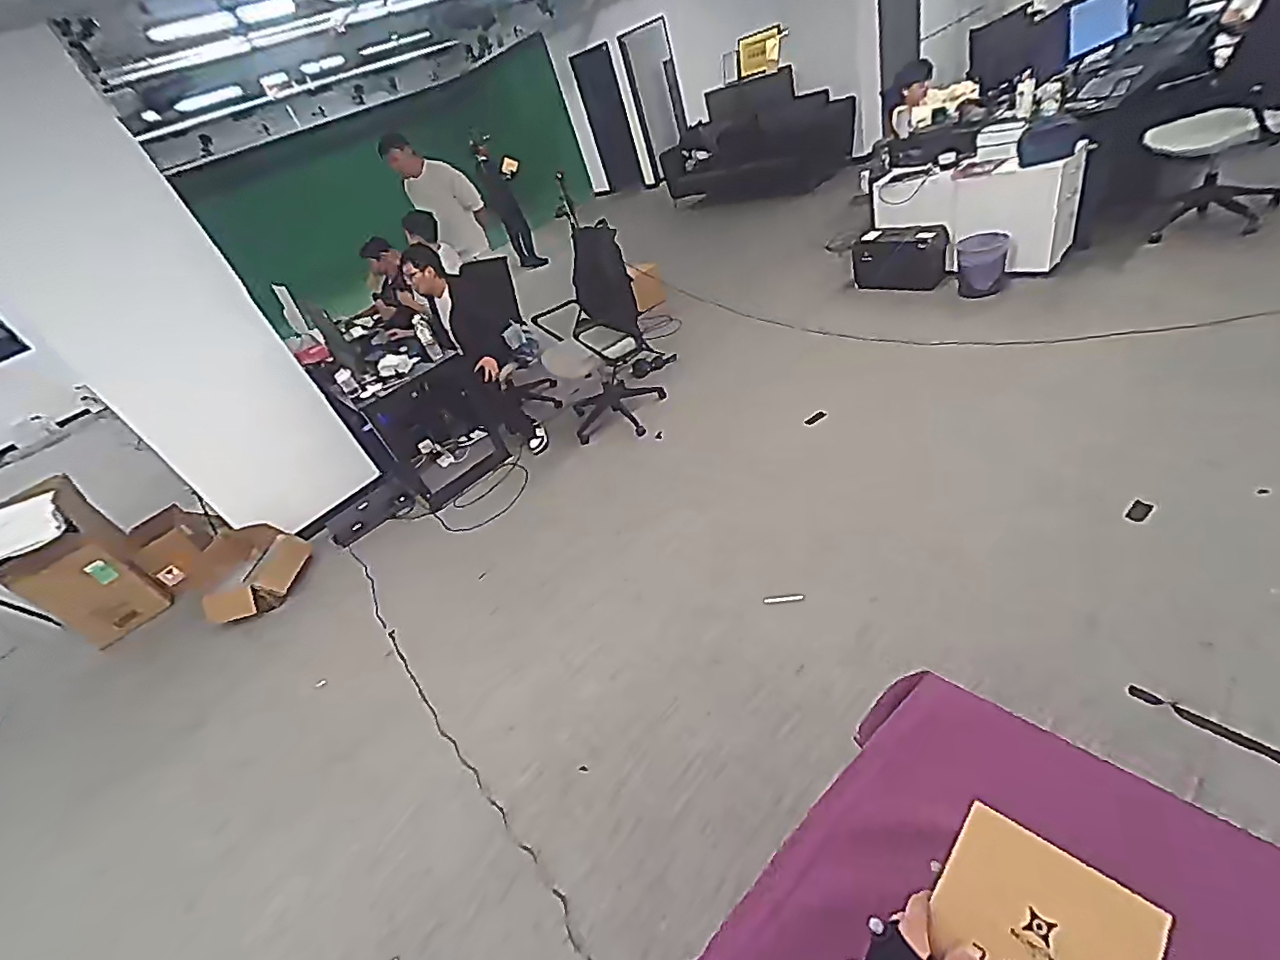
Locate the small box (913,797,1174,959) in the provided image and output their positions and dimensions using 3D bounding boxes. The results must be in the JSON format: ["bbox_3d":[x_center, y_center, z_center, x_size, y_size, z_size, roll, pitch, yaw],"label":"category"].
[{"bbox_3d":[0.401,0.486,0.560,0.168,0.176,0.179,20,53,44],"label":"small box"}]
